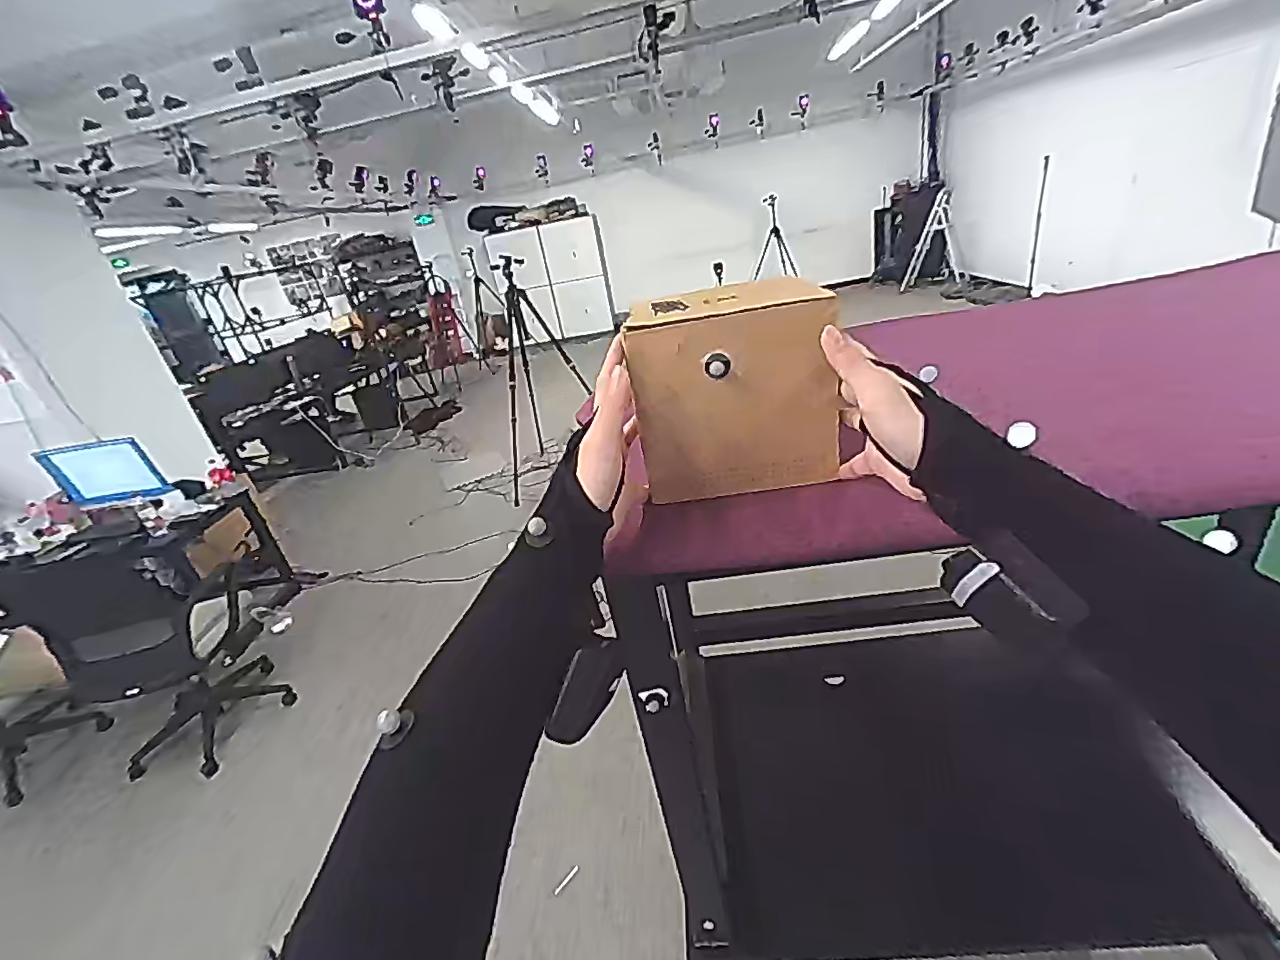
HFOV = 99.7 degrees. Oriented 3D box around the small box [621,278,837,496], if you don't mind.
[{"bbox_3d":[0.087,-0.094,0.539,0.179,0.176,0.168,-7,25,7],"label":"small box"}]
